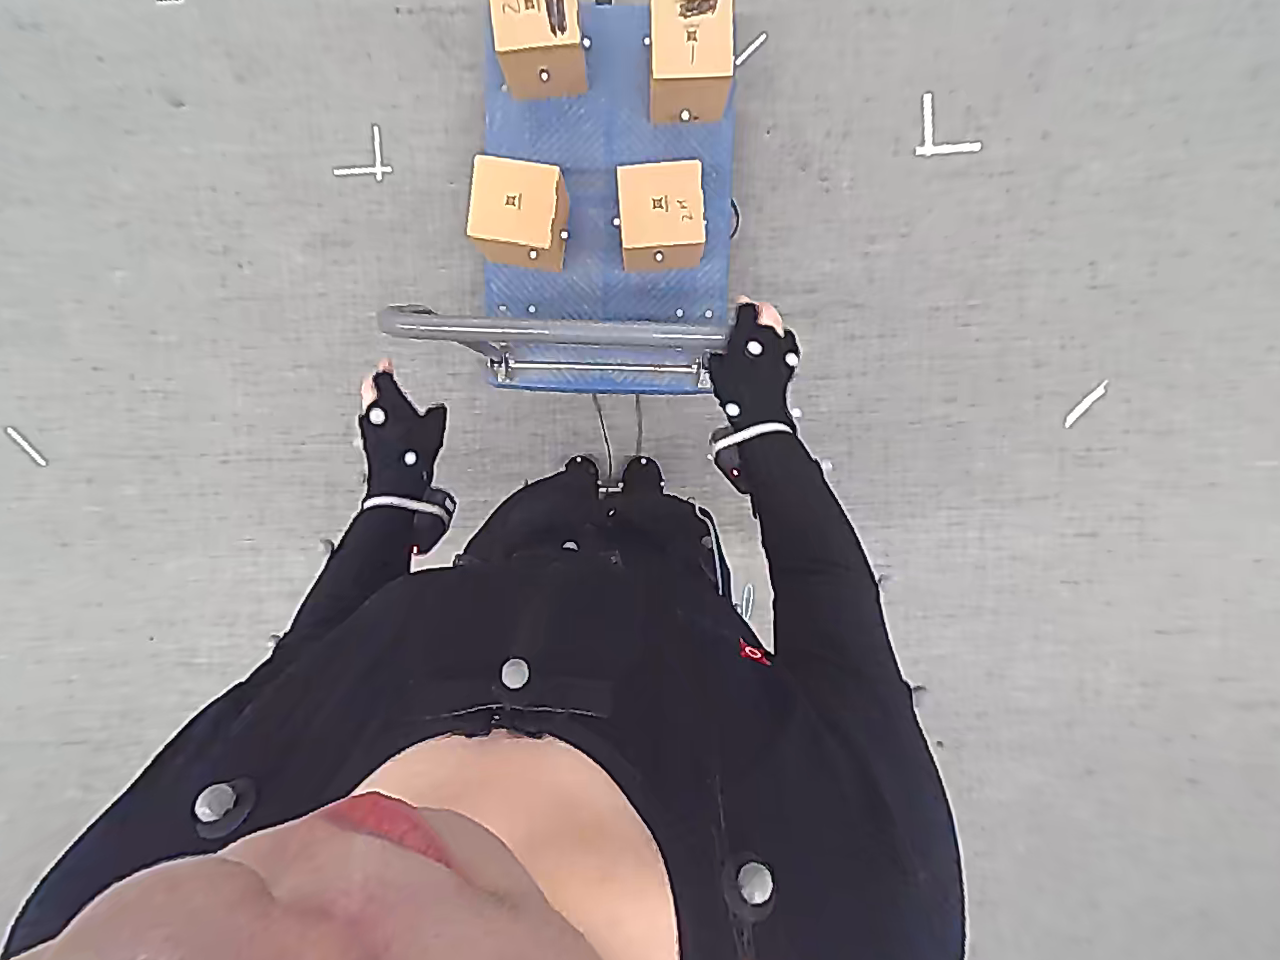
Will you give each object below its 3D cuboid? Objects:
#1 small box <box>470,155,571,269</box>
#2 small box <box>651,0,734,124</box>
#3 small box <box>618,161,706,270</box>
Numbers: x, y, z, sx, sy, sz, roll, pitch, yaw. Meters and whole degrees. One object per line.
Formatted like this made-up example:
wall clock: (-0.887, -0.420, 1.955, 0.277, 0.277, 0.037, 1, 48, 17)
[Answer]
small box: (-0.257, -0.583, 1.197, 0.179, 0.176, 0.168, 7, 94, -2)
small box: (0.108, -0.910, 1.171, 0.168, 0.176, 0.179, -1, 95, 0)
small box: (0.047, -0.576, 1.197, 0.179, 0.176, 0.168, -4, 95, 1)
